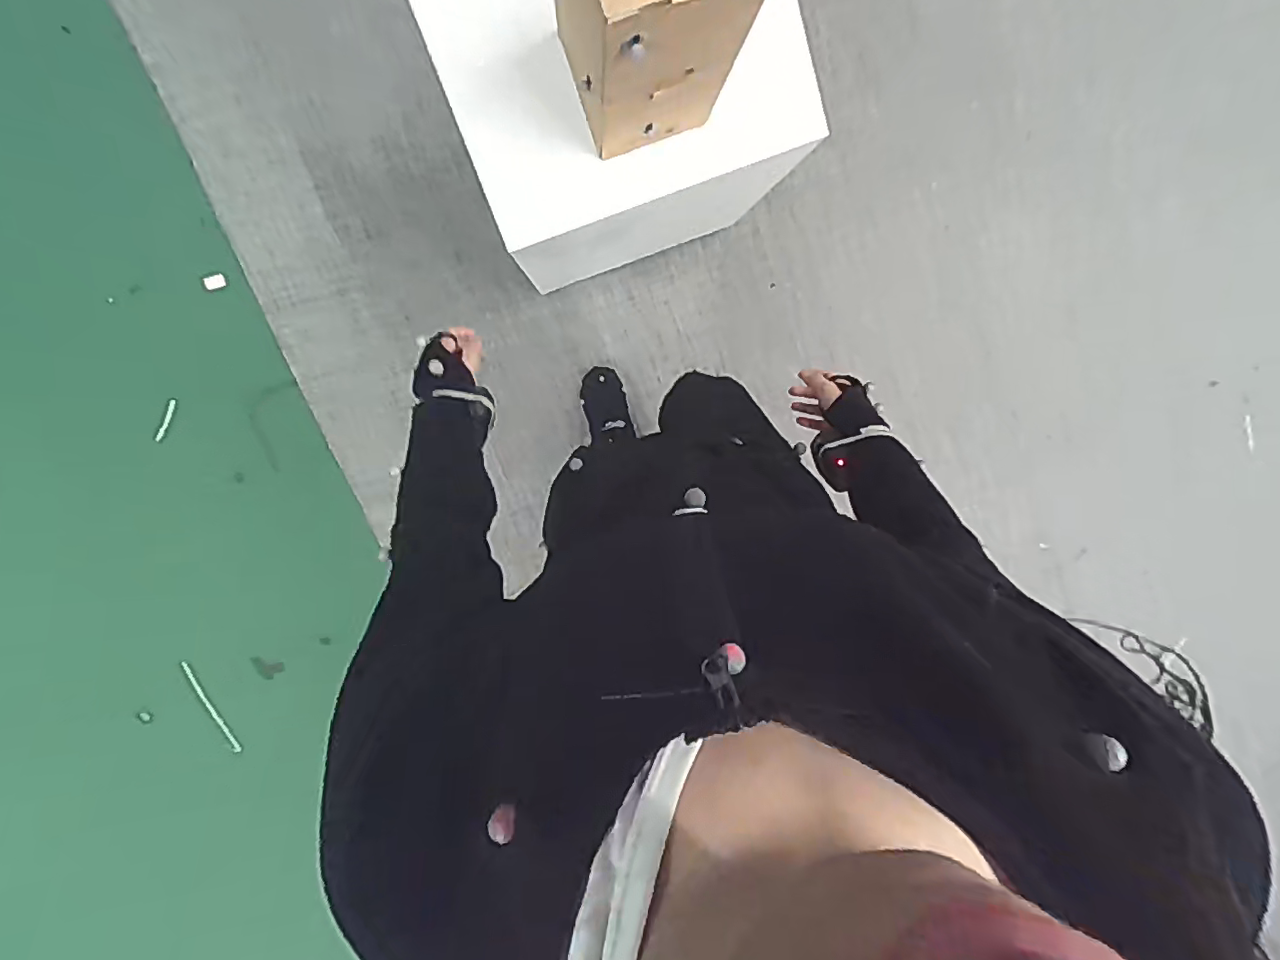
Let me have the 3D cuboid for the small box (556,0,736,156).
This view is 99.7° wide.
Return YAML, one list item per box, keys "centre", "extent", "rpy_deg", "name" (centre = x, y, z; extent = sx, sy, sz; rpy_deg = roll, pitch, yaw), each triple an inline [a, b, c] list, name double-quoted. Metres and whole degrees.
- centre: [-0.002, -0.545, 0.670]
  extent: [0.168, 0.176, 0.179]
  rpy_deg: [-20, 103, -1]
  name: "small box"
